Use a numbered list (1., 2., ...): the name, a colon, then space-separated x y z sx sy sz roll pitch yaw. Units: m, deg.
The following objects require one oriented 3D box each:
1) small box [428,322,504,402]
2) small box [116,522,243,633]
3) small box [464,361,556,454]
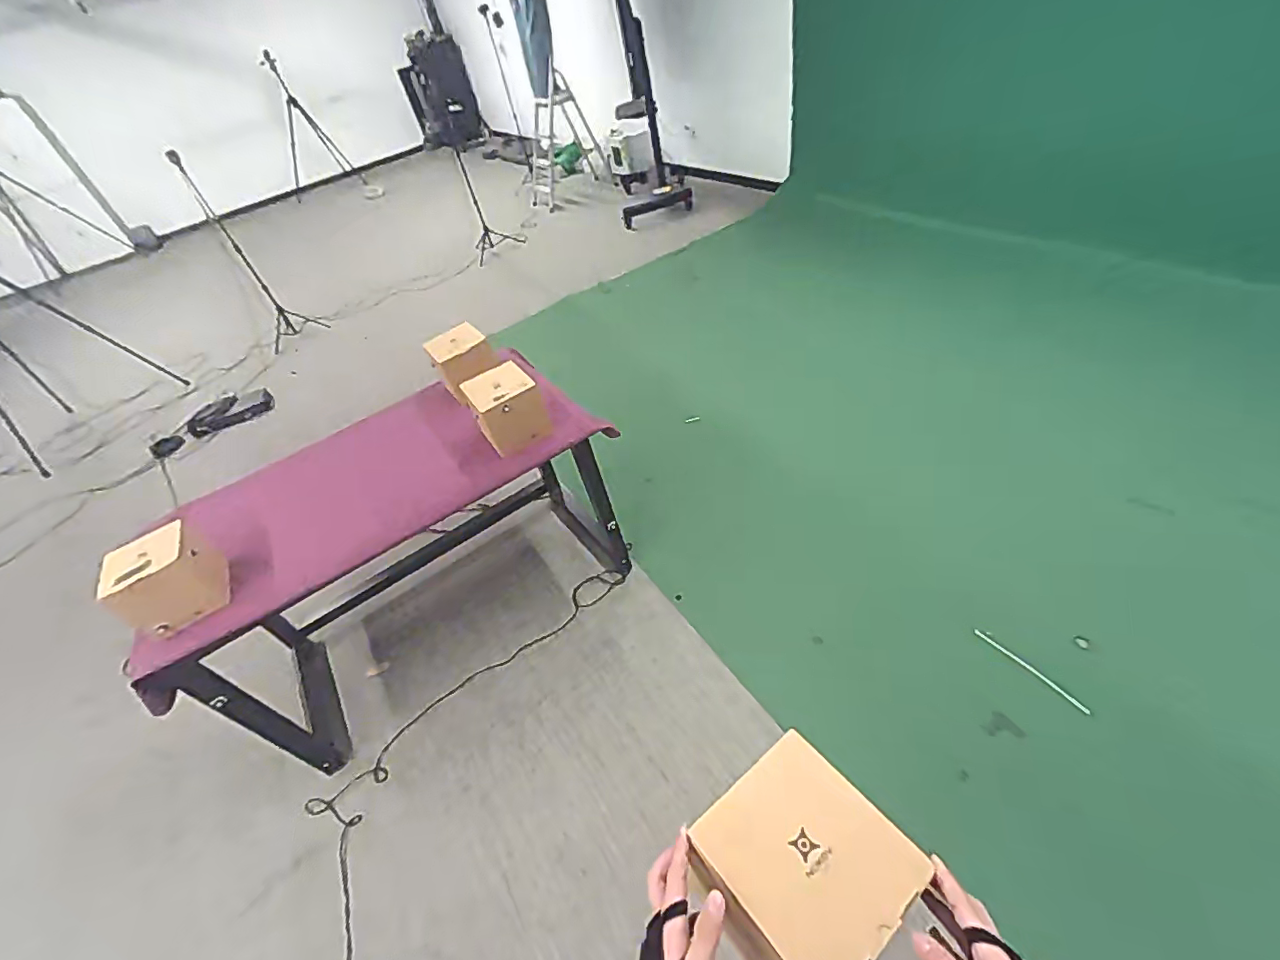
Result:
1. small box: -0.555 -0.382 1.760 0.168 0.176 0.179 -36 48 -15
2. small box: -1.096 0.242 1.302 0.168 0.176 0.179 -32 44 -16
3. small box: -0.362 -0.202 1.522 0.168 0.176 0.179 -33 46 -14
